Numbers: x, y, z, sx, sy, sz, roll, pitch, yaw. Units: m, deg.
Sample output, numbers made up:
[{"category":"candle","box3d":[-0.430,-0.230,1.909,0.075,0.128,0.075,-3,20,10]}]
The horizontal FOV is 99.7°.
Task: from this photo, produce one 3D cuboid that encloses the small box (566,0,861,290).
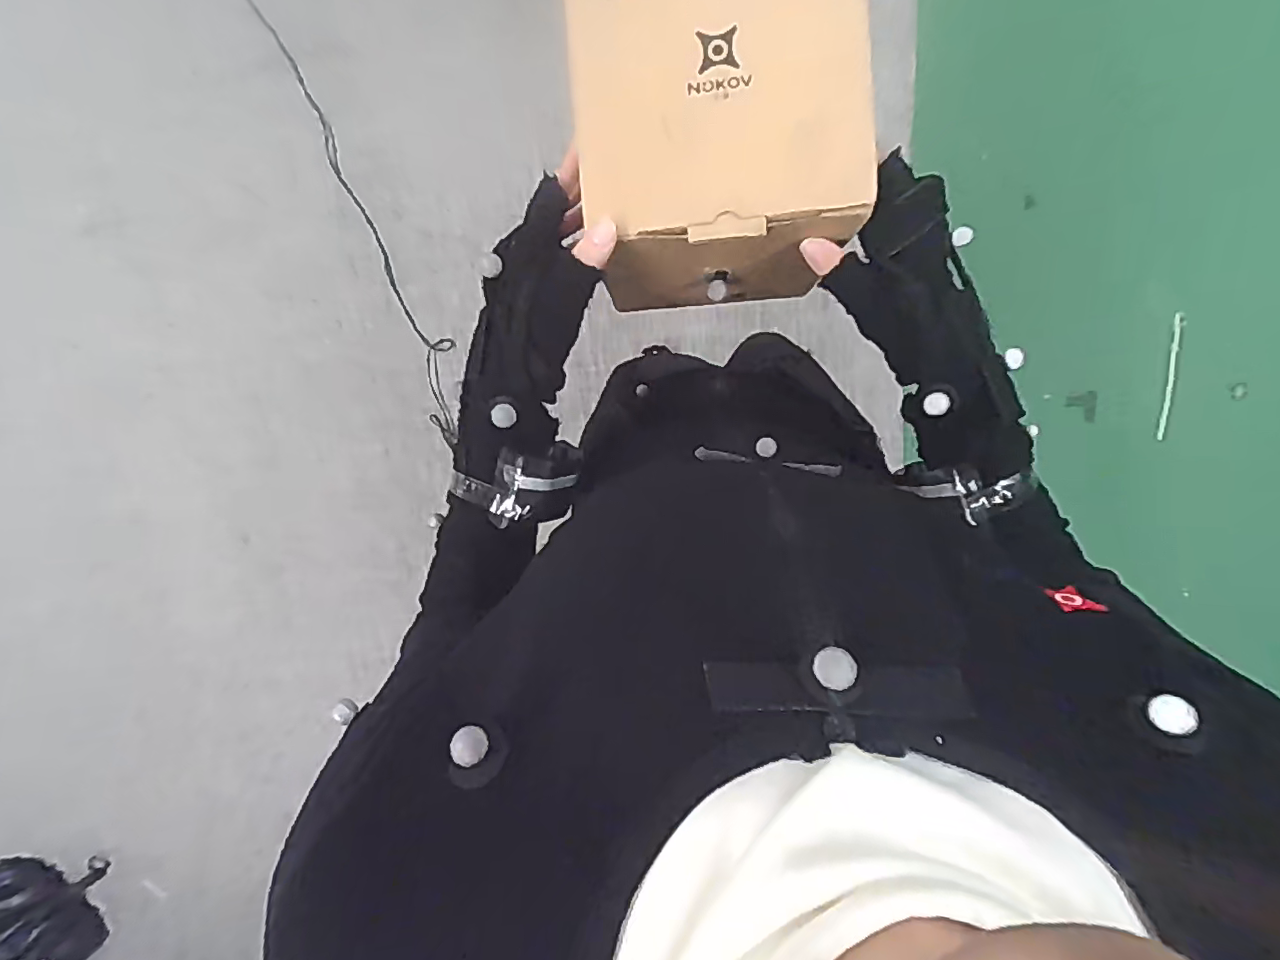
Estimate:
[{"category":"small box","box3d":[0.048,-0.246,0.390,0.168,0.176,0.179,-4,94,5]}]
